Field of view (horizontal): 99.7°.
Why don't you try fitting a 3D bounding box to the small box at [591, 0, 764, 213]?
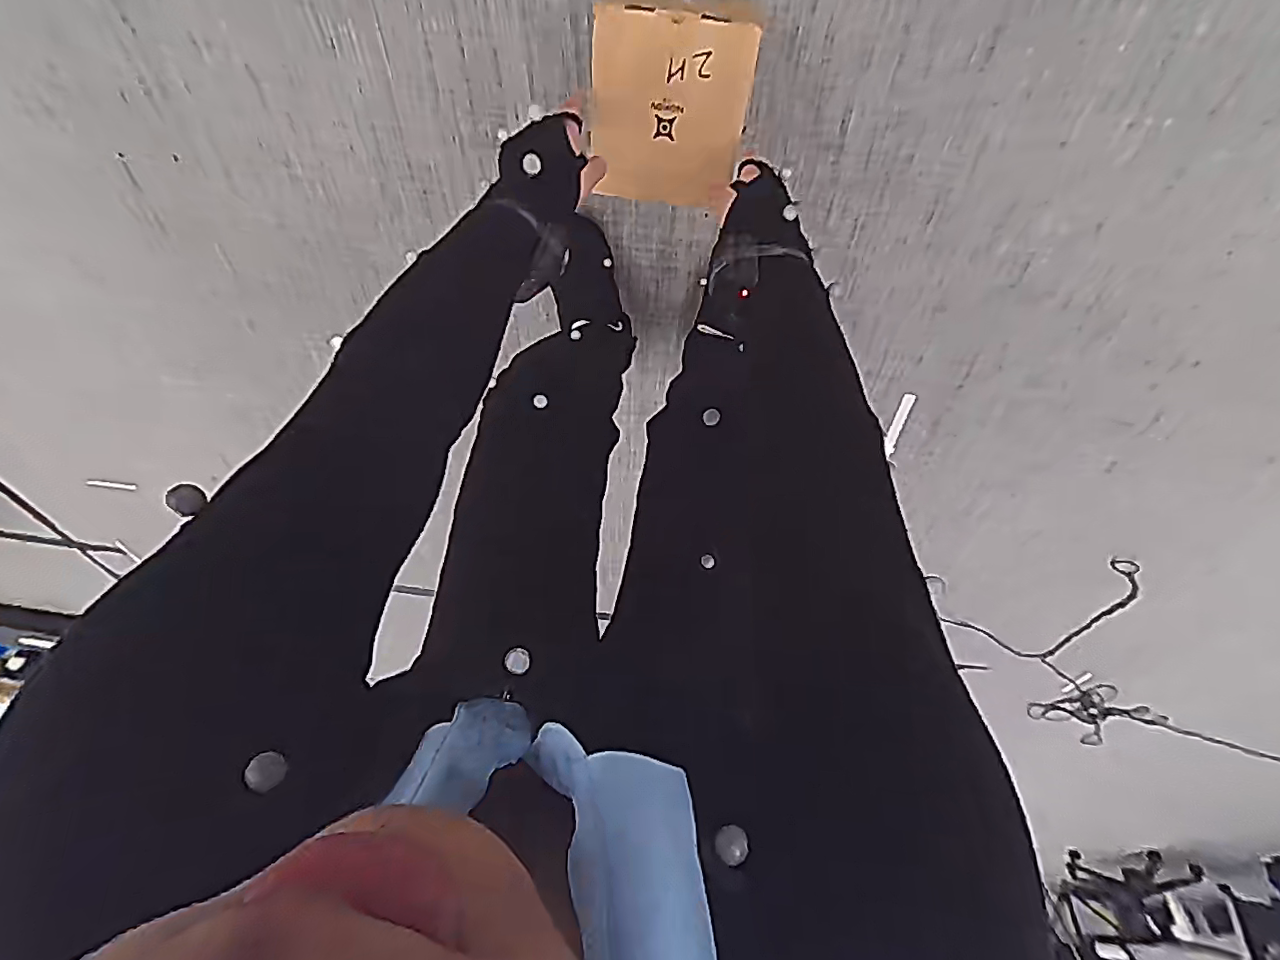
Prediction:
[{"bbox_3d":[0.041,-0.442,0.626,0.168,0.176,0.179,9,137,0],"label":"small box"}]
